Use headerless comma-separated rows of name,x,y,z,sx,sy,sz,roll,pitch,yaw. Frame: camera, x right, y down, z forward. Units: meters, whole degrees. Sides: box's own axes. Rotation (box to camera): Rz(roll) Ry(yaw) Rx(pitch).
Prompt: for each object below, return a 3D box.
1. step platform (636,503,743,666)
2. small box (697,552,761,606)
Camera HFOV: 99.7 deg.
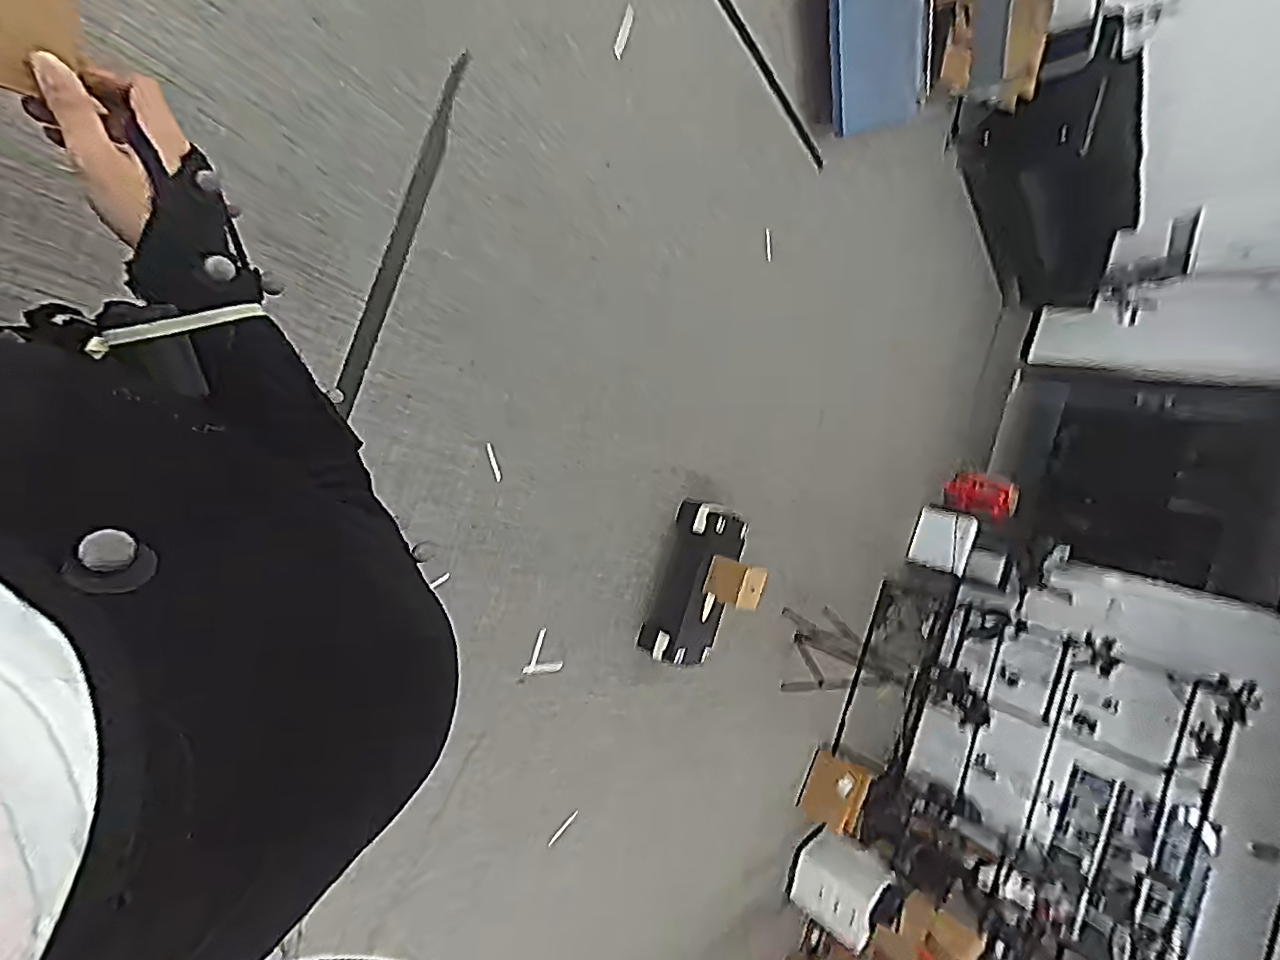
step platform,0.228,0.456,2.357,0.286,0.204,0.684,19,87,-48
small box,0.367,0.407,2.231,0.179,0.176,0.168,22,85,-48
